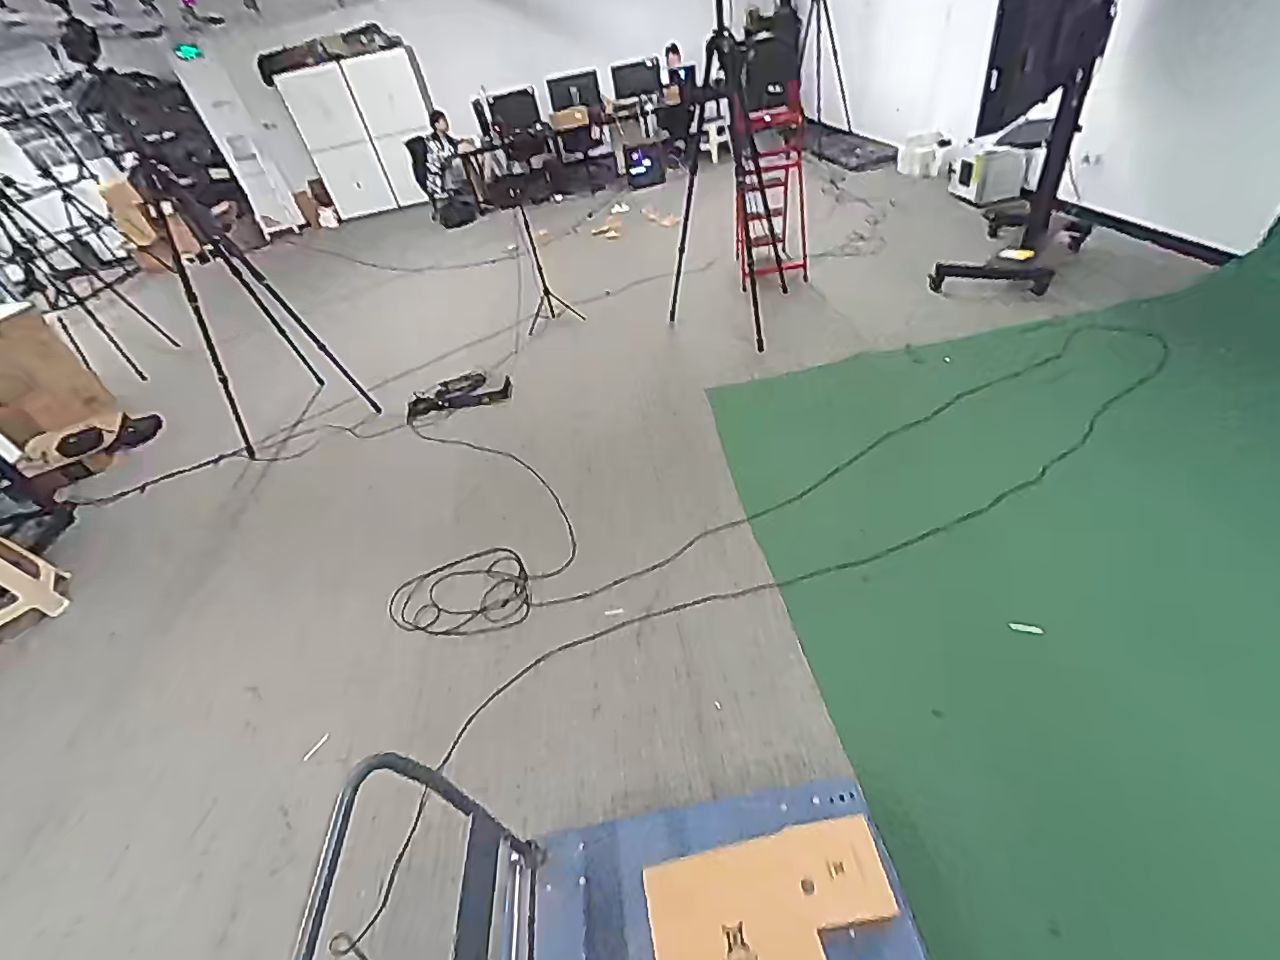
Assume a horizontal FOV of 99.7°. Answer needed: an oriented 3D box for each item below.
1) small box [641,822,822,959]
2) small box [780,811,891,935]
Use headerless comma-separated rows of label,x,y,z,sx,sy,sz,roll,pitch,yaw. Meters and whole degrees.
small box,0.102,0.512,0.592,0.168,0.176,0.179,-13,42,0
small box,0.388,0.811,1.112,0.179,0.176,0.168,-11,41,3
